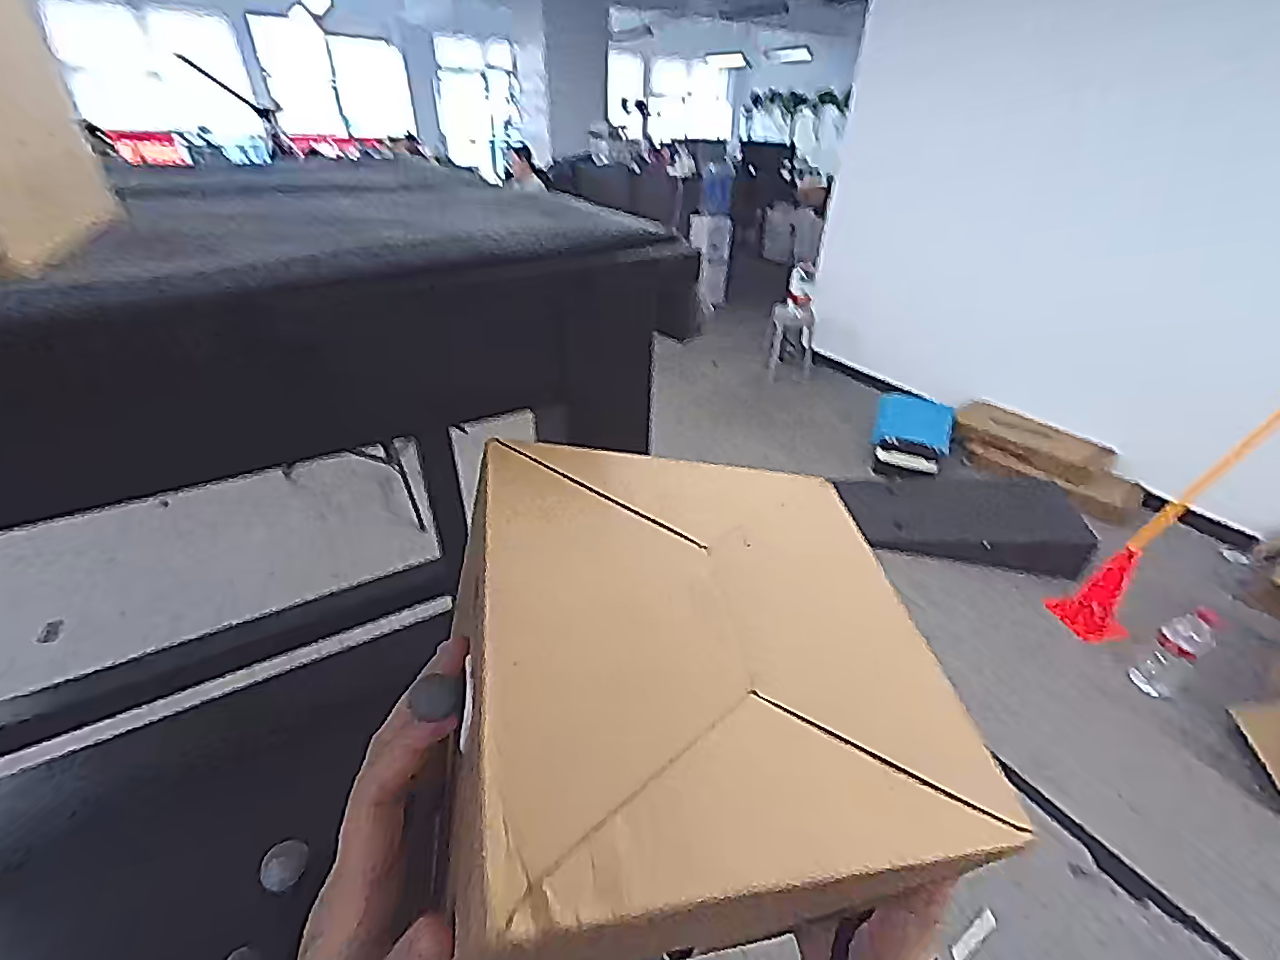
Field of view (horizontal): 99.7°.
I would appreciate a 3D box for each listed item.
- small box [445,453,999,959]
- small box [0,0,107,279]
[{"bbox_3d":[0.011,0.107,0.255,0.179,0.176,0.168,8,39,-19],"label":"small box"},{"bbox_3d":[-0.305,-0.149,0.152,0.168,0.176,0.179,-19,38,-25],"label":"small box"}]
